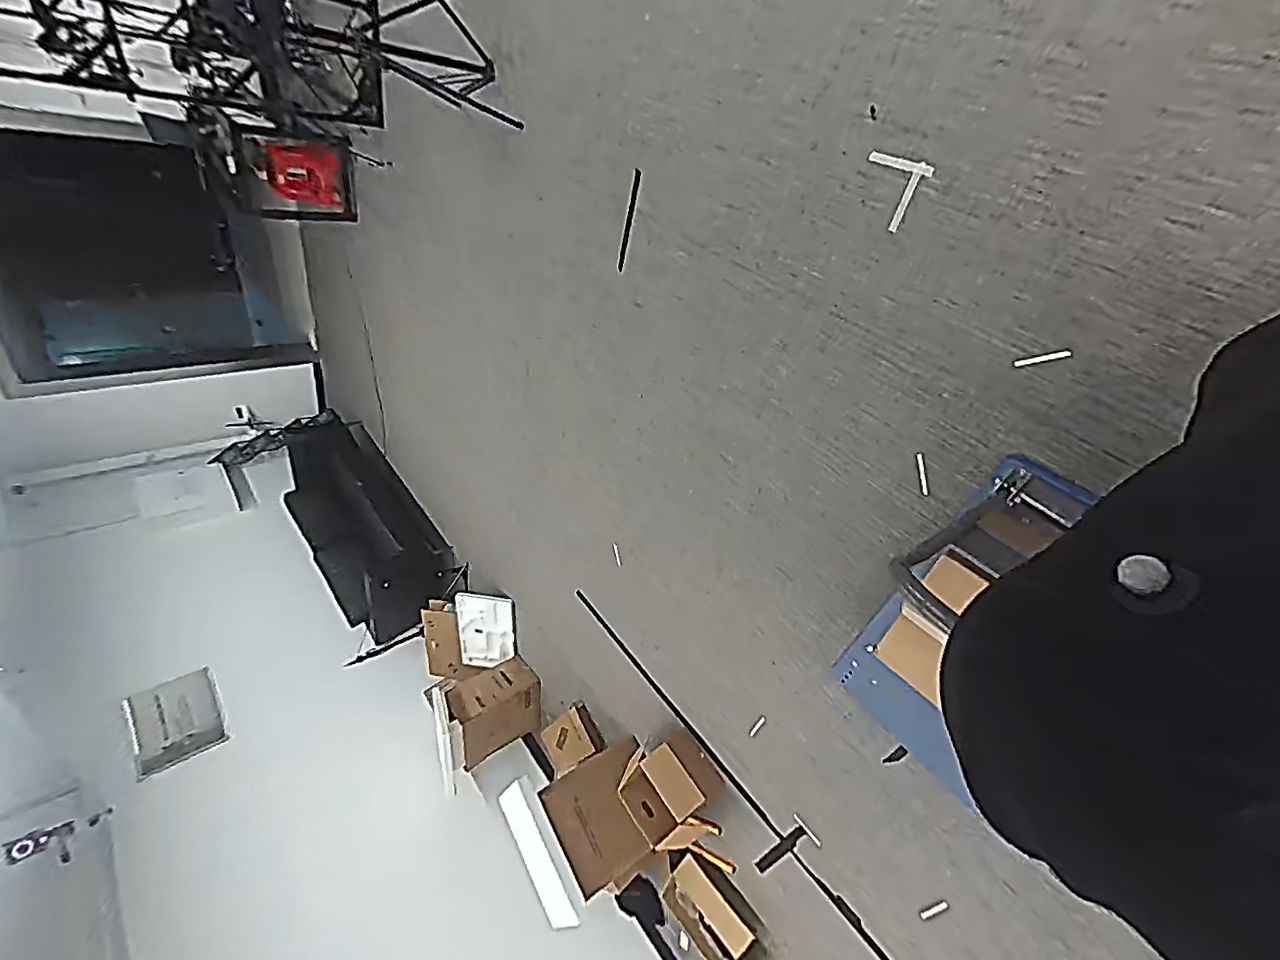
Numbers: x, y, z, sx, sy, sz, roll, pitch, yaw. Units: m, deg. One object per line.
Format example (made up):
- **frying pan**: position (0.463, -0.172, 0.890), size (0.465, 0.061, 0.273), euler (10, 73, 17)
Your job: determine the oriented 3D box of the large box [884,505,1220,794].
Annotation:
- **large box**: position (0.810, 0.314, 1.102), size (0.408, 0.320, 0.320), euler (41, 132, 34)
